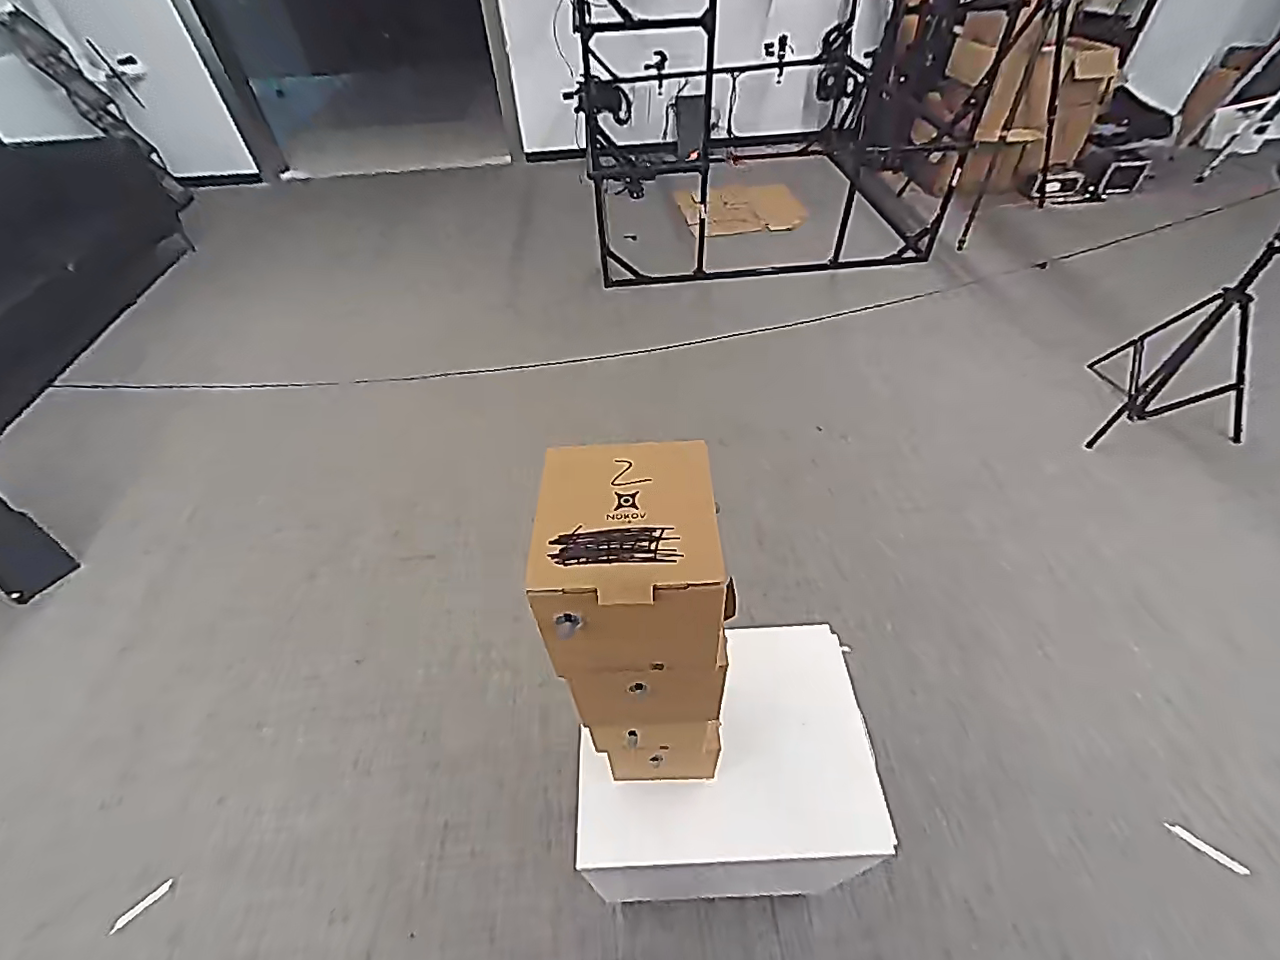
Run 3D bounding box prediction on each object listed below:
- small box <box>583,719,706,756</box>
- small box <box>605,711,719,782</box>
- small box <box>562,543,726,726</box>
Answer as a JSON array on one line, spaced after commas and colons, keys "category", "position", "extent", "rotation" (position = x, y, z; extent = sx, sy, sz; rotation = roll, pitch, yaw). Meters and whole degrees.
[{"category": "small box", "position": [0.013, 0.298, 0.808], "extent": [0.168, 0.176, 0.179], "rotation": [0, 47, 2]}, {"category": "small box", "position": [0.036, 0.407, 0.927], "extent": [0.179, 0.176, 0.168], "rotation": [-1, 48, 0]}, {"category": "small box", "position": [0.006, 0.197, 0.677], "extent": [0.179, 0.176, 0.168], "rotation": [-2, 48, 0]}]
